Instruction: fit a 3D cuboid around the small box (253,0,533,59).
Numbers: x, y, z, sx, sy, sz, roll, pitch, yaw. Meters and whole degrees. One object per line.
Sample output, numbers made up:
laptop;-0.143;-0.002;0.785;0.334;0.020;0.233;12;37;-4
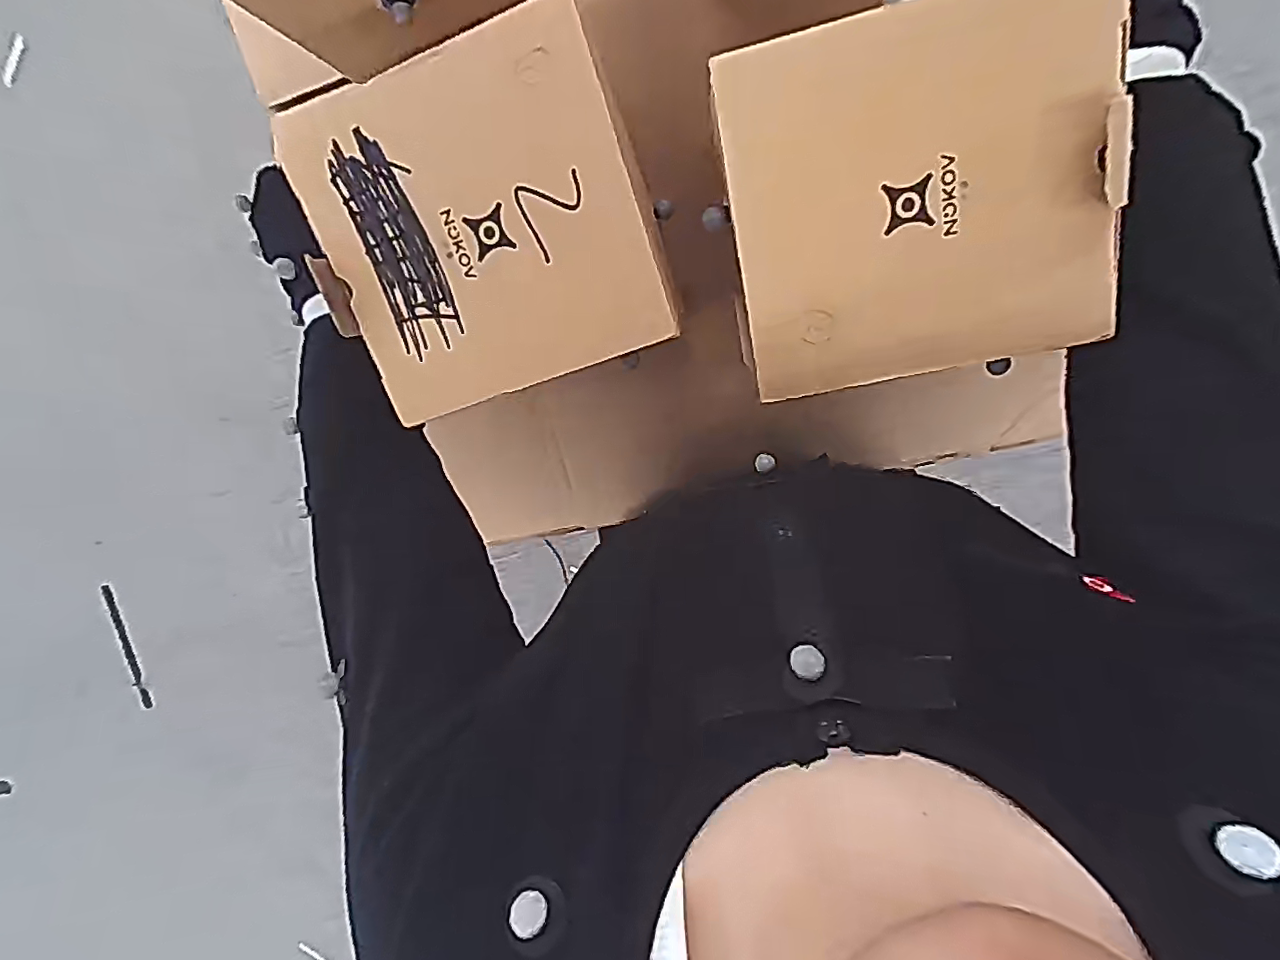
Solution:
small box;-0.172;-0.384;0.307;0.168;0.176;0.179;-13;104;11
